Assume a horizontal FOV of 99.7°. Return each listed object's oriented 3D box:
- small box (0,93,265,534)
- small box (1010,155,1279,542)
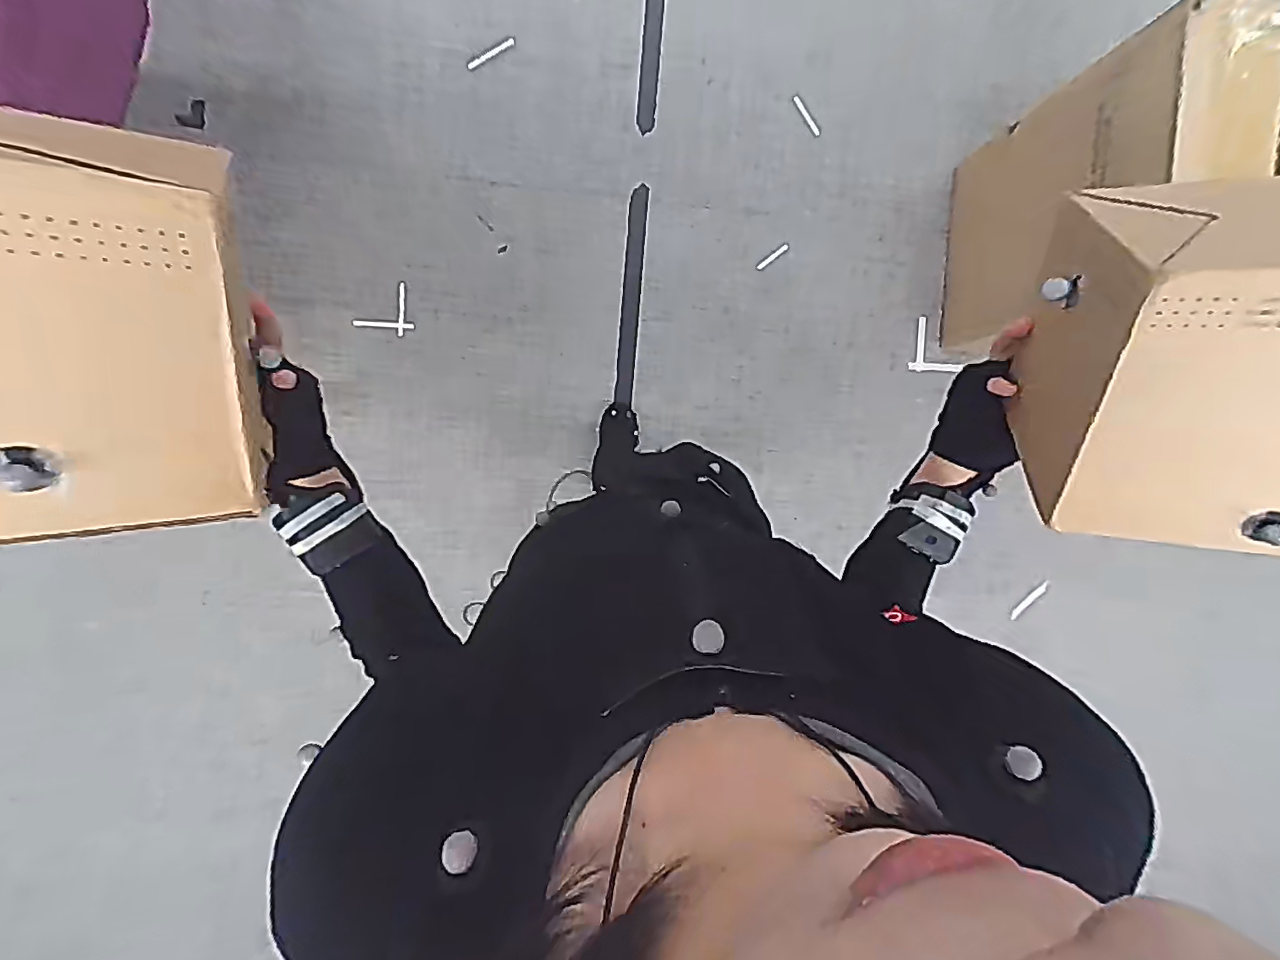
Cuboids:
[{"bbox_3d":[-0.300,-0.090,0.265,0.179,0.168,0.176,-5,124,-32],"label":"small box"},{"bbox_3d":[0.352,-0.085,0.324,0.168,0.179,0.176,6,131,21],"label":"small box"}]
